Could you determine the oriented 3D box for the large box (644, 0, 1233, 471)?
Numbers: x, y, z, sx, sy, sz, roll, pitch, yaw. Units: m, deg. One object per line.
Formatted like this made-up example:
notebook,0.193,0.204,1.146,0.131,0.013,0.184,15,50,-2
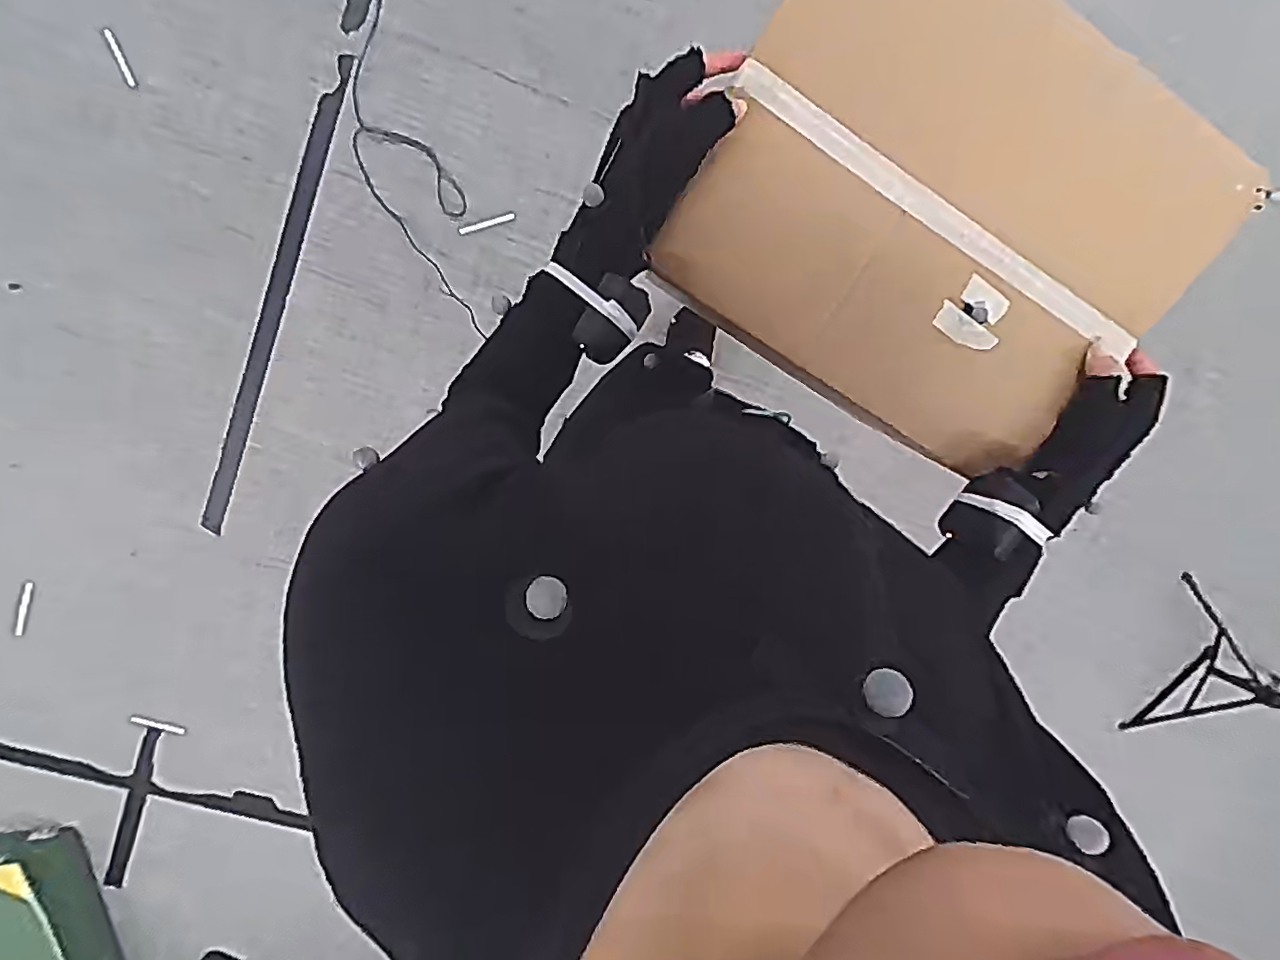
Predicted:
large box,0.249,-0.272,0.601,0.408,0.320,0.320,30,107,-9
